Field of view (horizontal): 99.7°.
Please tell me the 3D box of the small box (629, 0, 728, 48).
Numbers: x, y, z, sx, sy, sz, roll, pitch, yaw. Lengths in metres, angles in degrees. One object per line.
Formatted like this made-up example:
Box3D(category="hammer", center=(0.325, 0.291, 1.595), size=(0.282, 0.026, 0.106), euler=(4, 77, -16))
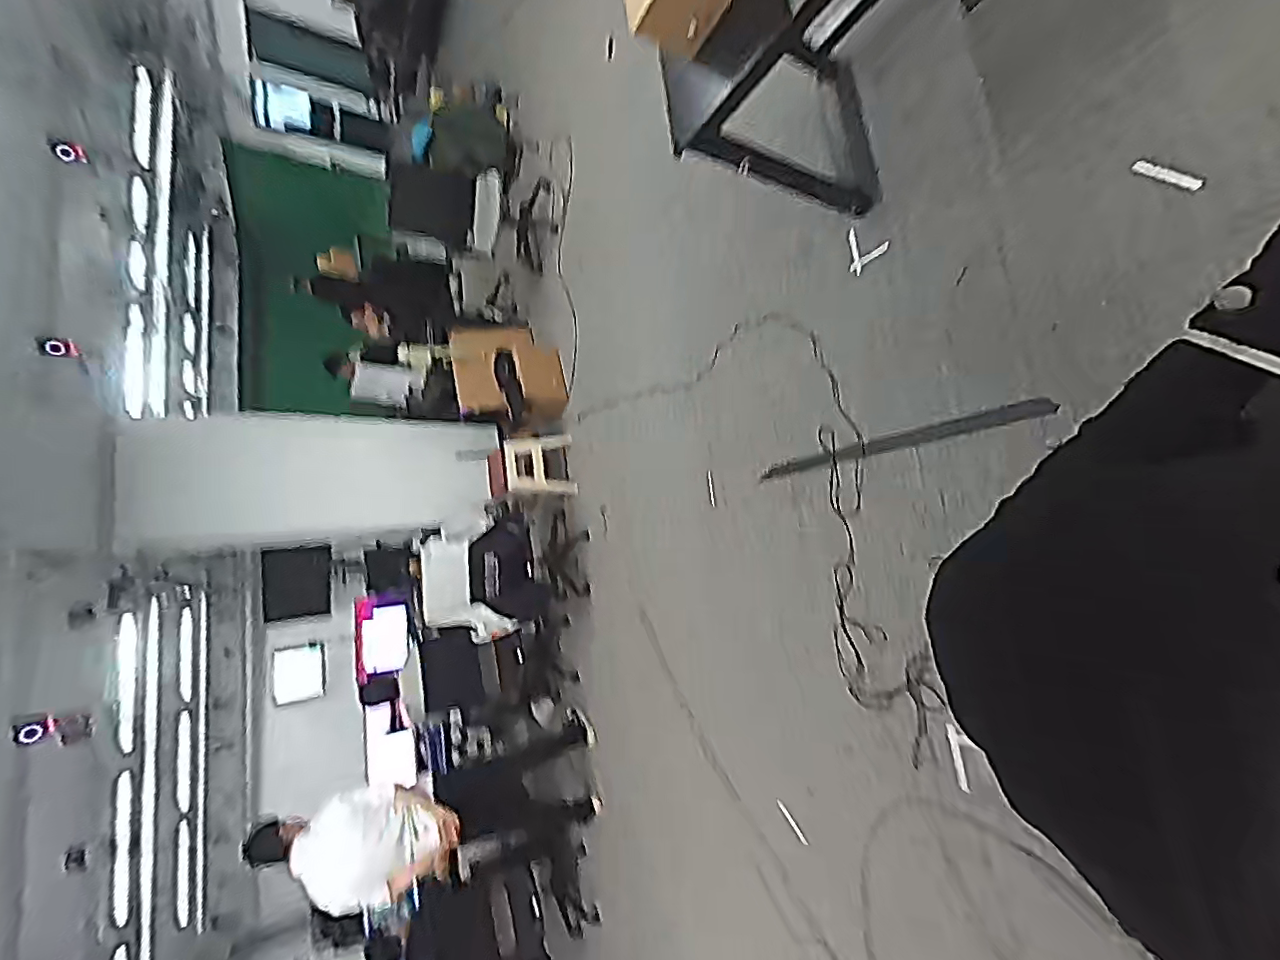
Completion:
Box3D(category="small box", center=(0.085, -1.129, 1.208), size=(0.168, 0.176, 0.179), euler=(-24, 72, 56))
